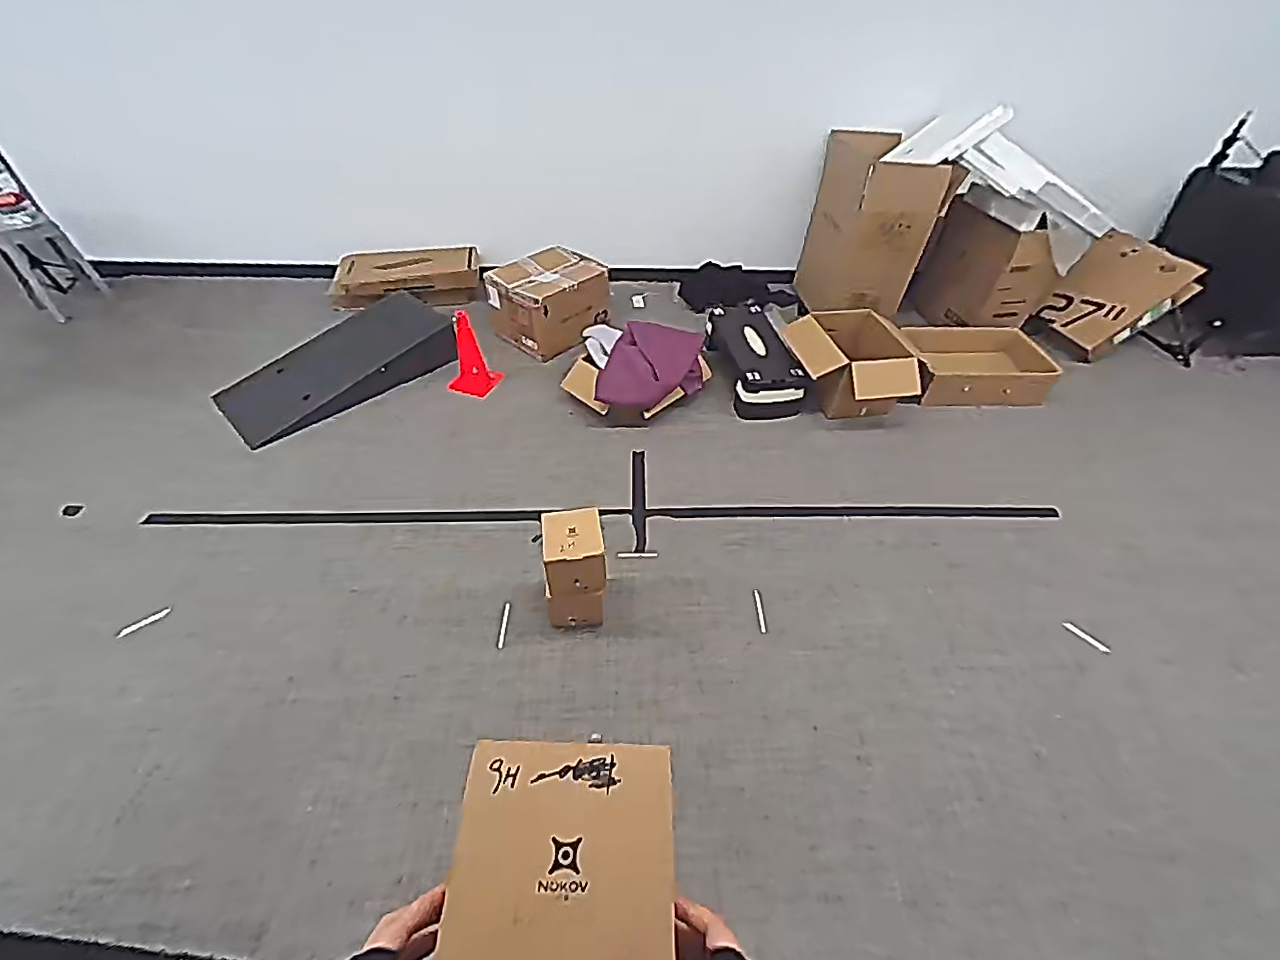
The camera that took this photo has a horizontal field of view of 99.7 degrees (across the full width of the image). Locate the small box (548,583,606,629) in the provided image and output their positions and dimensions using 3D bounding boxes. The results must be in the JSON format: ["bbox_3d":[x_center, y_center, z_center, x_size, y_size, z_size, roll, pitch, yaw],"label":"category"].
[{"bbox_3d":[-0.191,0.338,1.665,0.168,0.176,0.179,-3,46,-3],"label":"small box"}]

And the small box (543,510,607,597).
[{"bbox_3d":[-0.186,0.212,1.558,0.168,0.176,0.179,-7,45,-7],"label":"small box"}]

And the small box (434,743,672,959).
[{"bbox_3d":[-0.060,0.337,0.459,0.168,0.176,0.179,2,51,-2],"label":"small box"}]
